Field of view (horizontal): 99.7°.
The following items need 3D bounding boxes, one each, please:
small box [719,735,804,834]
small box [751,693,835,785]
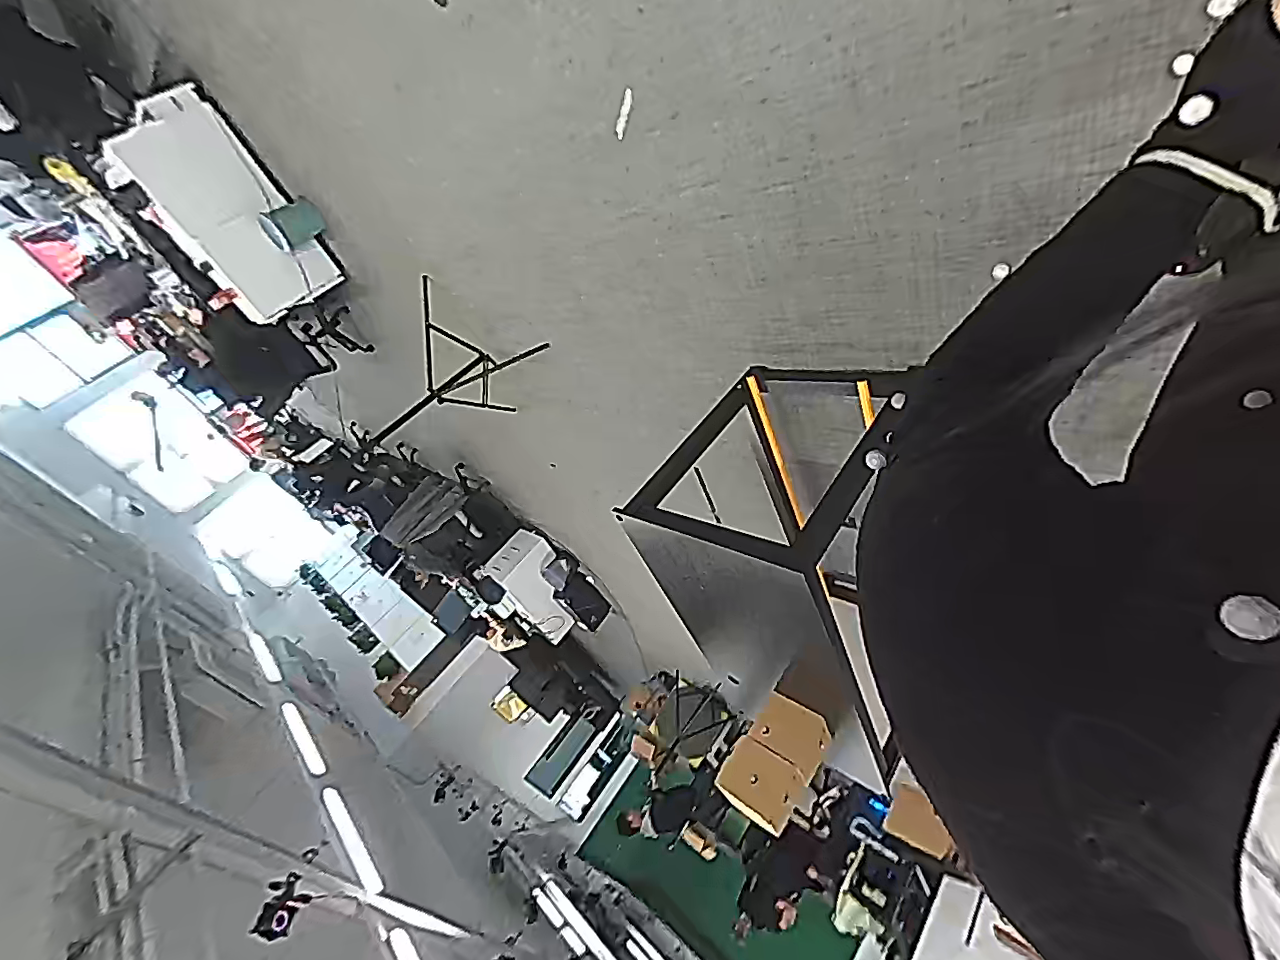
[{"bbox_3d":[0.374,0.908,1.626,0.179,0.176,0.168,13,142,46],"label":"small box"},{"bbox_3d":[0.480,0.798,1.686,0.179,0.176,0.168,15,145,44],"label":"small box"}]
